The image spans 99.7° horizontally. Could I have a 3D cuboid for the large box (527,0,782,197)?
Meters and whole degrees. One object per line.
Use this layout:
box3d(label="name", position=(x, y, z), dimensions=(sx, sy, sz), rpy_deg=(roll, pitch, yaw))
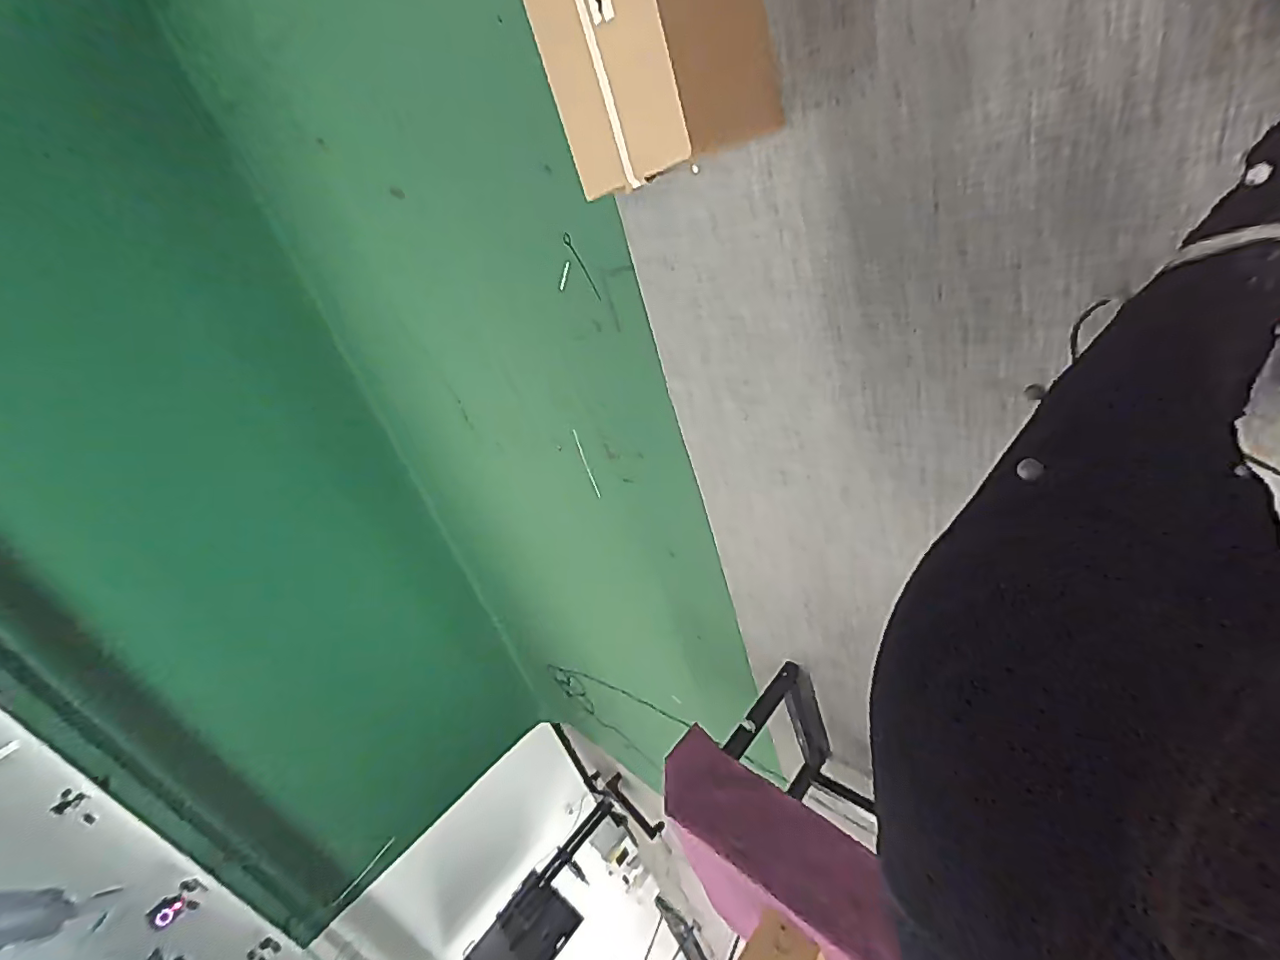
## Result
box3d(label="large box", position=(0.034, -0.833, 1.053), dimensions=(0.320, 0.320, 0.408), rpy_deg=(11, 128, 47))

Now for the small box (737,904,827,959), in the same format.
box3d(label="small box", position=(0.389, 1.302, 1.450), dimensions=(0.168, 0.176, 0.179), rpy_deg=(10, 129, 47))
